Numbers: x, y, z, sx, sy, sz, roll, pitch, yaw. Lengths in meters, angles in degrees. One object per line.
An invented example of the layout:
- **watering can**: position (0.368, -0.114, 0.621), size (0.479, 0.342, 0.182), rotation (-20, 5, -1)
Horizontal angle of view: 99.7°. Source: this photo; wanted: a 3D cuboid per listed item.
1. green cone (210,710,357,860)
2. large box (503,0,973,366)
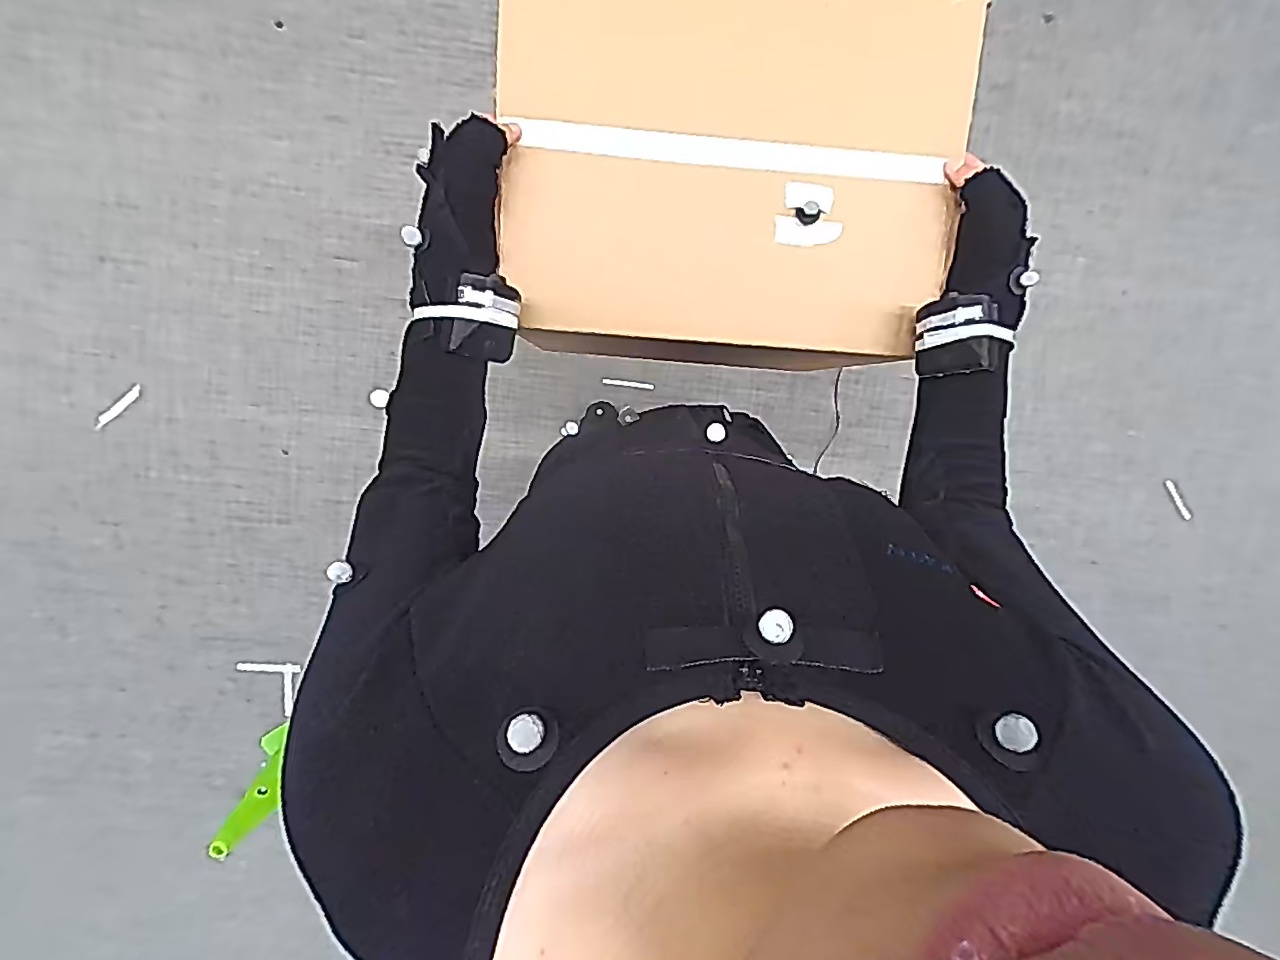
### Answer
- **green cone**: position (-0.933, 0.797, 1.374), size (0.202, 0.368, 0.200), rotation (-32, 97, 4)
- **large box**: position (0.071, -0.304, 0.617), size (0.408, 0.320, 0.320), rotation (3, 99, -4)
